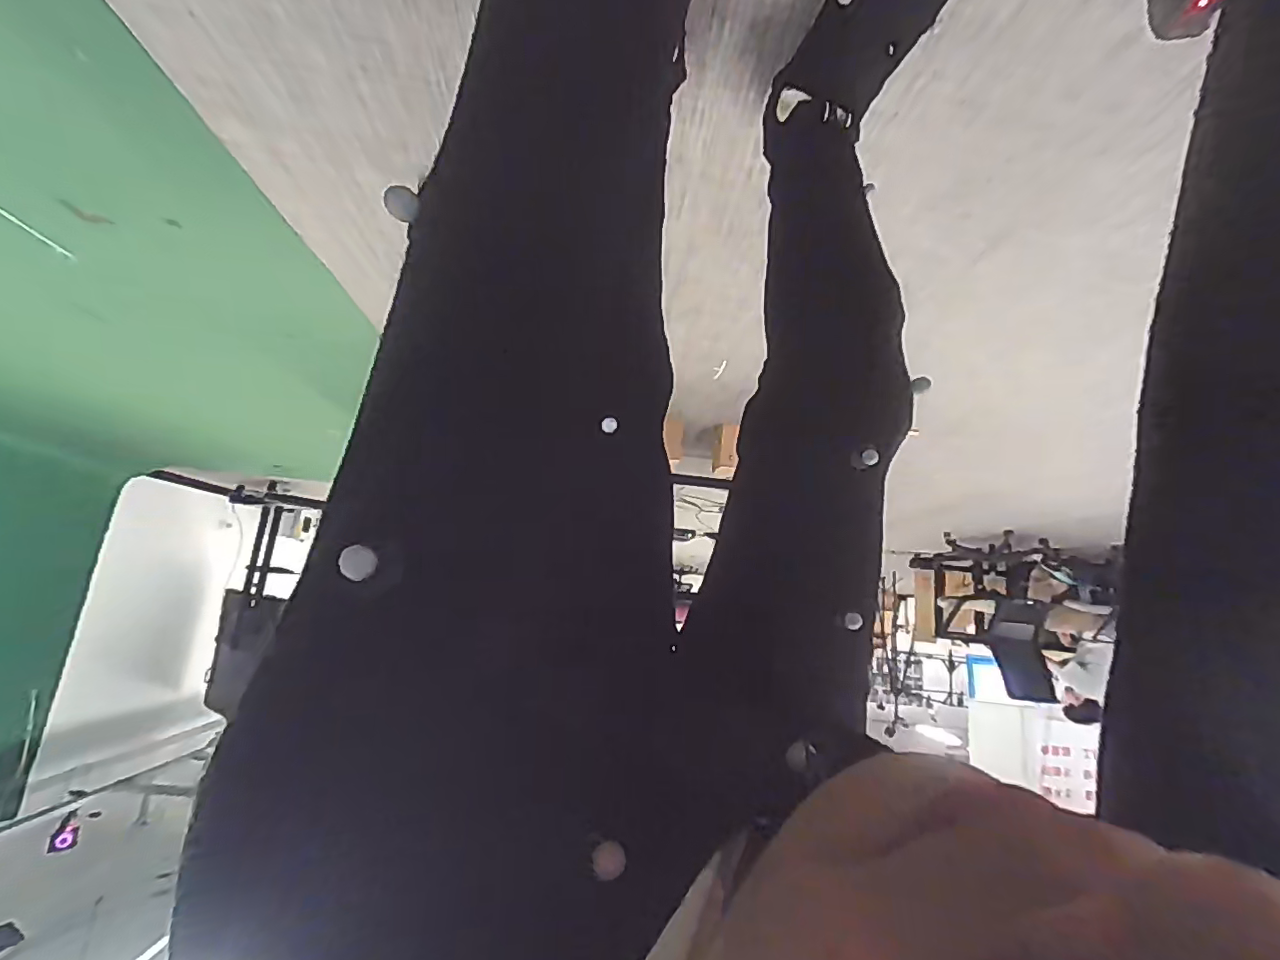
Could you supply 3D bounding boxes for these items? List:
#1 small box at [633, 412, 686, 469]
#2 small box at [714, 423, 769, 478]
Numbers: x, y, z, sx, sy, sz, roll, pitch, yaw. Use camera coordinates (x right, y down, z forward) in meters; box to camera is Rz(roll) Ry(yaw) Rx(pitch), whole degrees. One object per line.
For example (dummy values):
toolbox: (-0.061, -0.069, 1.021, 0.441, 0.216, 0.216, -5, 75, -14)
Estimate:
small box: (0.071, -0.151, 2.058, 0.179, 0.176, 0.168, 6, 168, -3)
small box: (0.393, -0.112, 2.085, 0.179, 0.176, 0.168, 7, 168, -2)
